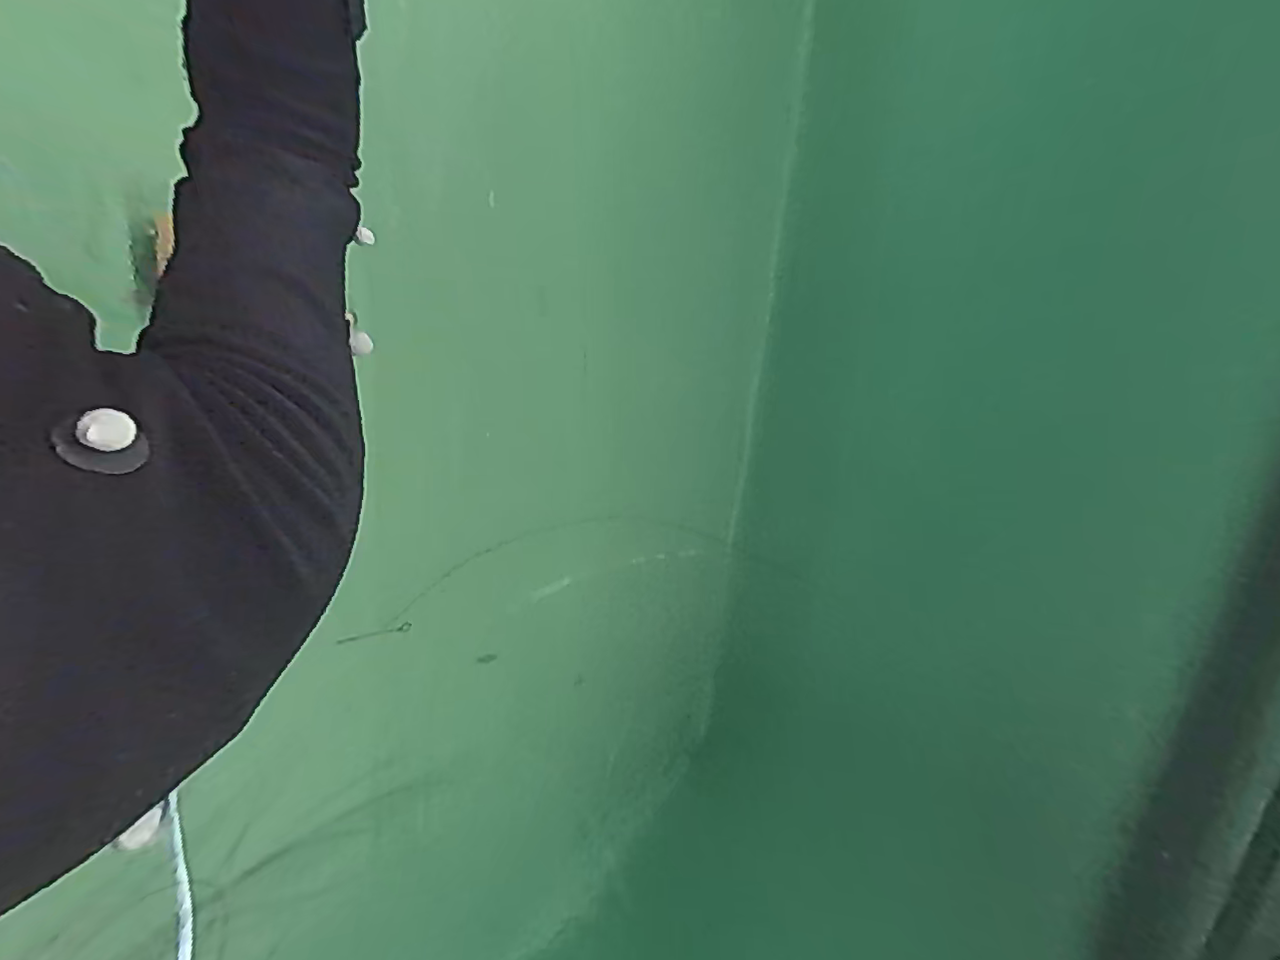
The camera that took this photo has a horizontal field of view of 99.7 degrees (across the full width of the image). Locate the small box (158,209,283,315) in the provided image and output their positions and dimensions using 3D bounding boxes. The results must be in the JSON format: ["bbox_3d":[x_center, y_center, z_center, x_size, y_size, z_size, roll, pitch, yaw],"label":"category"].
[{"bbox_3d":[-0.863,-0.440,1.112,0.179,0.176,0.168,-8,110,-51],"label":"small box"}]
